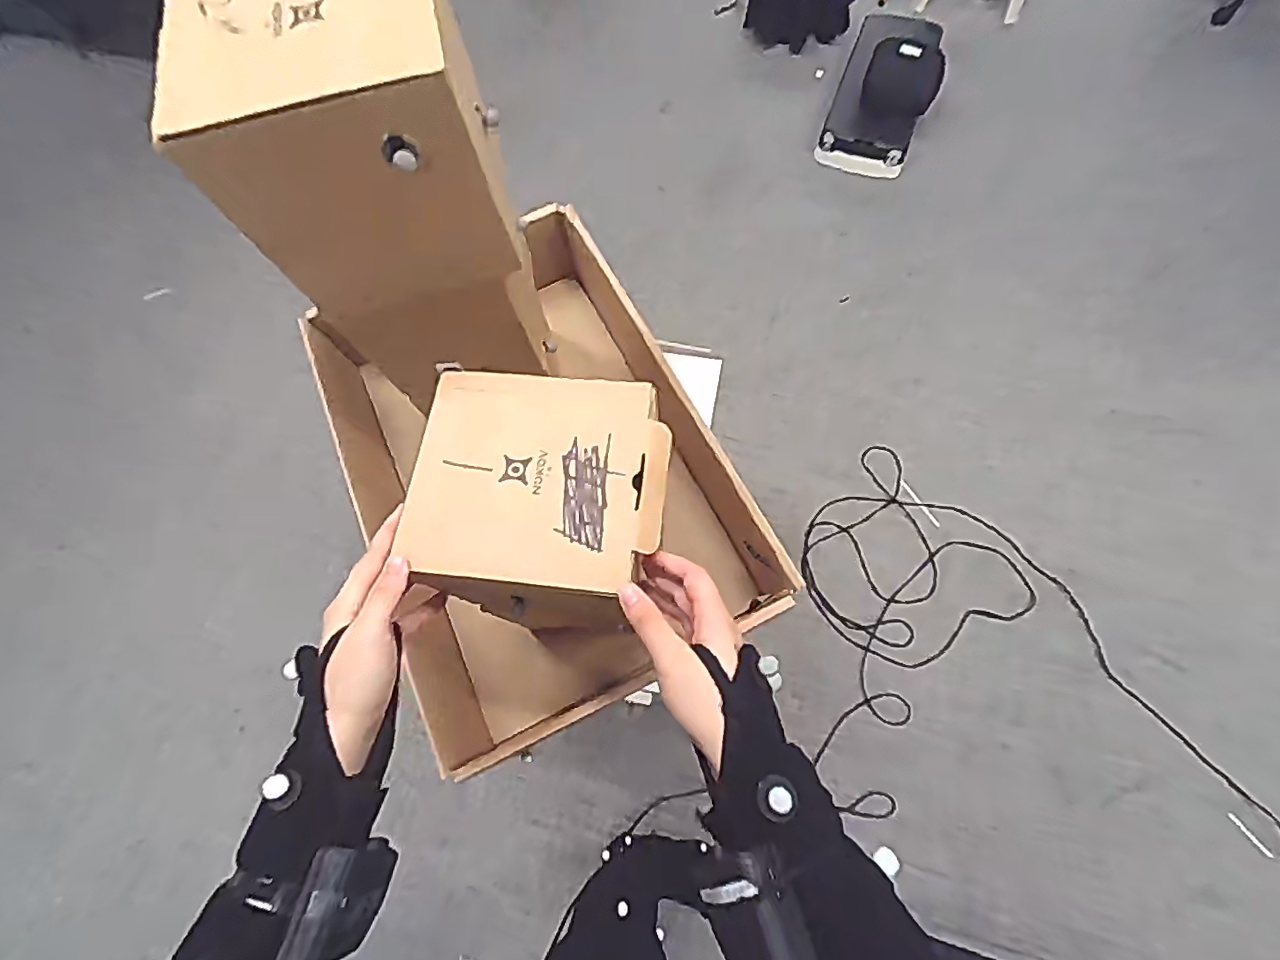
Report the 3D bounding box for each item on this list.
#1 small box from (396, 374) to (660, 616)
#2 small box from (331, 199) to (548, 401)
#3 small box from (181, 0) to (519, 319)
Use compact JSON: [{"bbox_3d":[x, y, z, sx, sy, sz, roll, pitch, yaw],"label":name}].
[{"bbox_3d":[-0.078,0.024,0.487,0.179,0.176,0.168,5,69,7],"label":"small box"},{"bbox_3d":[-0.206,-0.212,0.590,0.168,0.176,0.179,-12,70,1],"label":"small box"},{"bbox_3d":[-0.206,-0.258,0.431,0.179,0.176,0.168,-15,69,0],"label":"small box"}]
